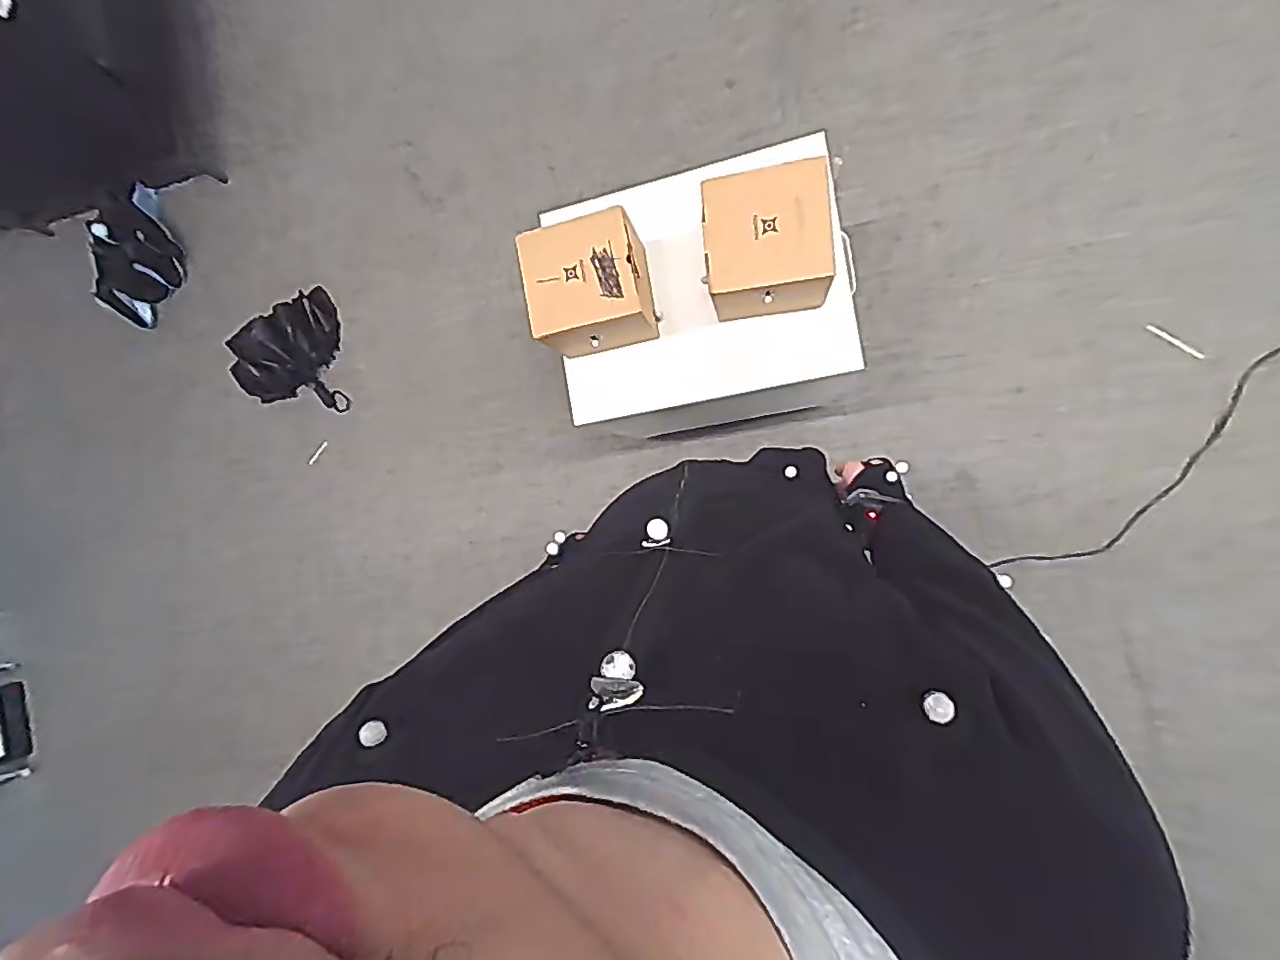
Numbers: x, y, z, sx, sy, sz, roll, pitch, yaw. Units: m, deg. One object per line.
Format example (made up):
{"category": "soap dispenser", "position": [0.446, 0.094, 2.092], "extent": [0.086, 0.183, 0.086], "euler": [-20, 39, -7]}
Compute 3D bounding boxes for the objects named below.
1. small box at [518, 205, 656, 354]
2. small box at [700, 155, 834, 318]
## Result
{"category": "small box", "position": [-0.077, -0.317, 0.893], "extent": [0.179, 0.176, 0.168], "euler": [-10, 89, 13]}
{"category": "small box", "position": [0.195, -0.359, 0.833], "extent": [0.179, 0.176, 0.168], "euler": [-4, 92, 13]}
